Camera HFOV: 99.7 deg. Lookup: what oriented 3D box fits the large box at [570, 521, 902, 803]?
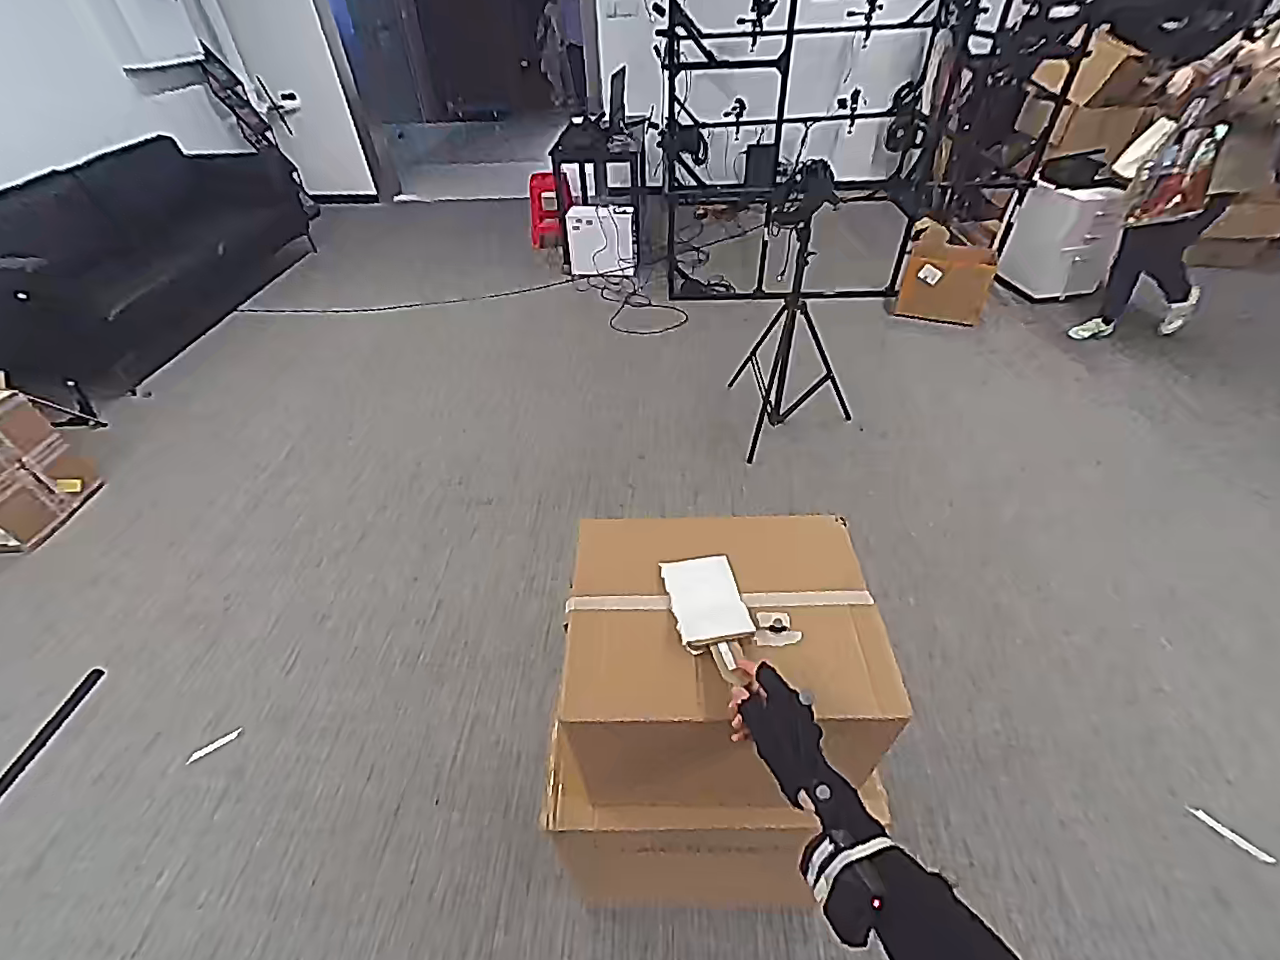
[{"bbox_3d":[0.114,0.282,0.846,0.408,0.320,0.320,-1,43,1],"label":"large box"}]
